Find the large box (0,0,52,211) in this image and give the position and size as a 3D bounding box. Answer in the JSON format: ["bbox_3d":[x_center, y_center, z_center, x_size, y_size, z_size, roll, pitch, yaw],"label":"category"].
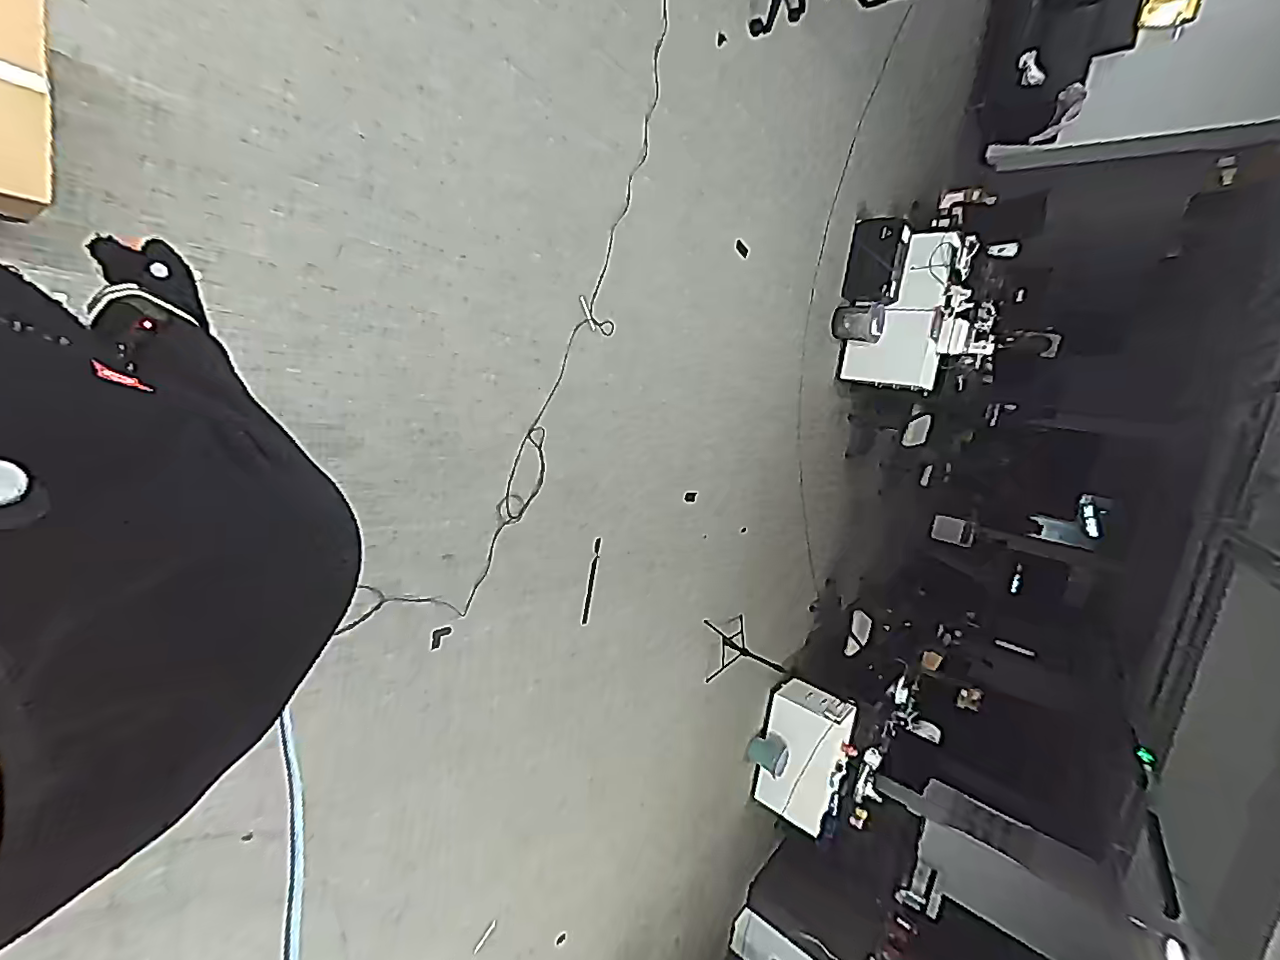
[{"bbox_3d":[-1.078,-0.583,0.694,0.408,0.320,0.320,-4,106,-52],"label":"large box"}]
